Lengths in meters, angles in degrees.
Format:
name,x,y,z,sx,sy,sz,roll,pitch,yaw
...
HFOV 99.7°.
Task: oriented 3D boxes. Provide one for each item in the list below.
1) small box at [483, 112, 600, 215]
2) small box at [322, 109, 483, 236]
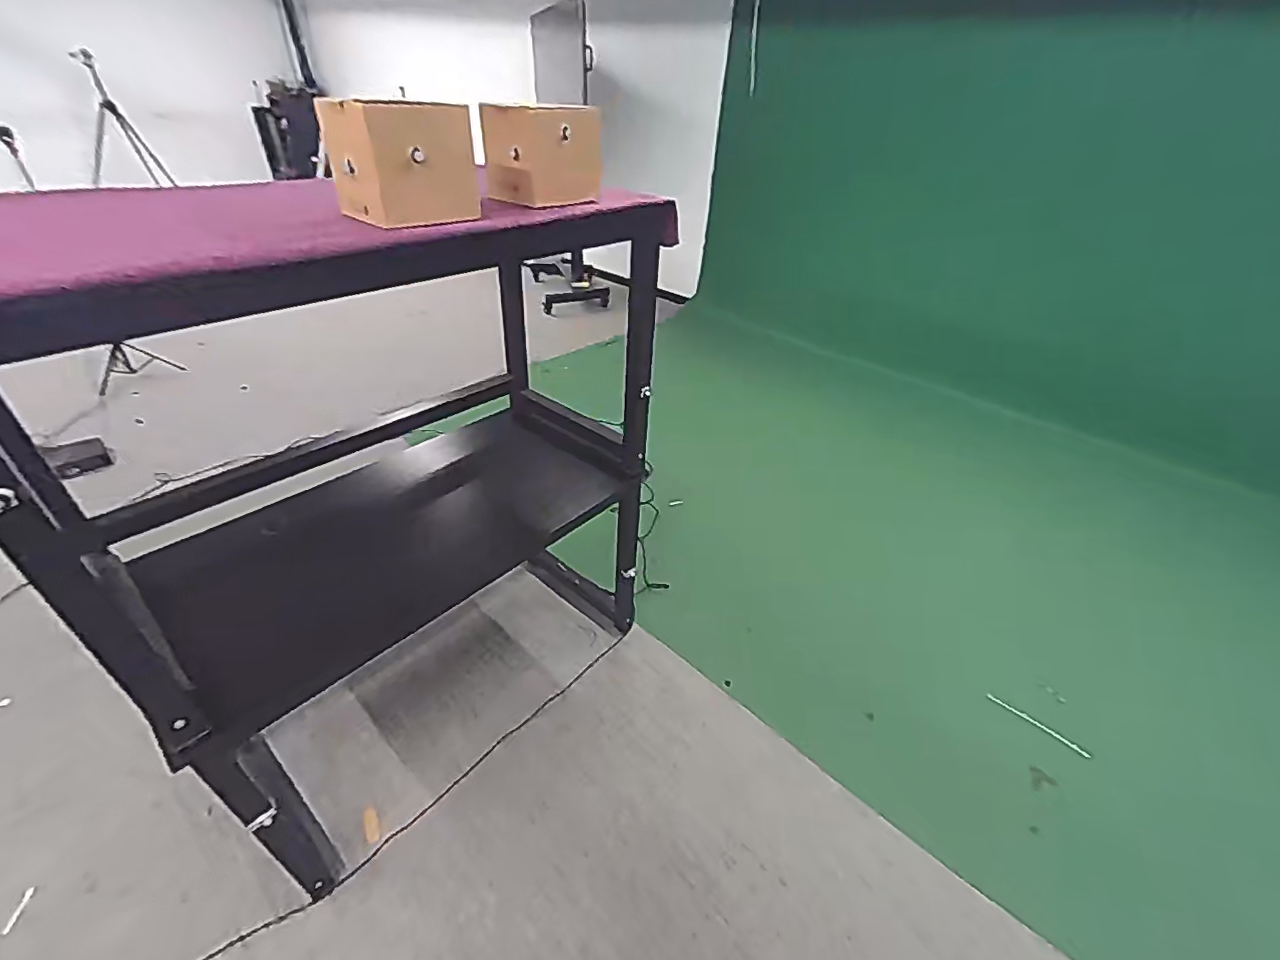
name,x,y,z,sx,sy,sz,roll,pitch,yaw
small box,-0.193,-0.650,1.108,0.179,0.176,0.168,-29,46,-36
small box,-0.388,-0.518,0.907,0.168,0.176,0.179,30,44,33
